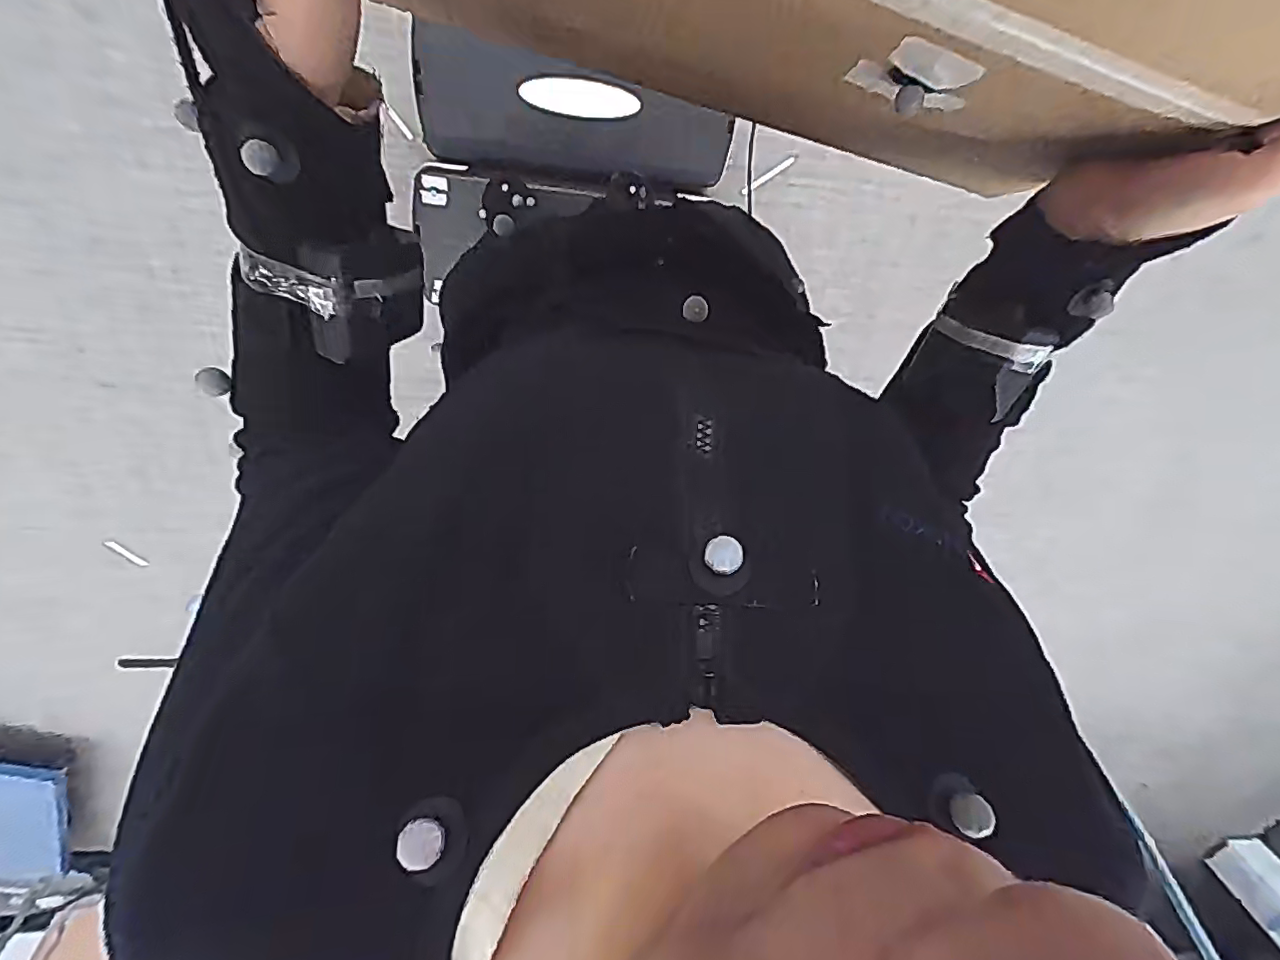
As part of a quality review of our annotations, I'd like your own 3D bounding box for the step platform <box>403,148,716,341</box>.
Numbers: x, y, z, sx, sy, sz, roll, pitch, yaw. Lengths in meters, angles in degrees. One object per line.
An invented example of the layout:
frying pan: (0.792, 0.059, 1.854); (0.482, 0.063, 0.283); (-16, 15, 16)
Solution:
step platform: (-0.173, -0.528, 1.244); (0.684, 0.204, 0.286); (8, 120, -10)
